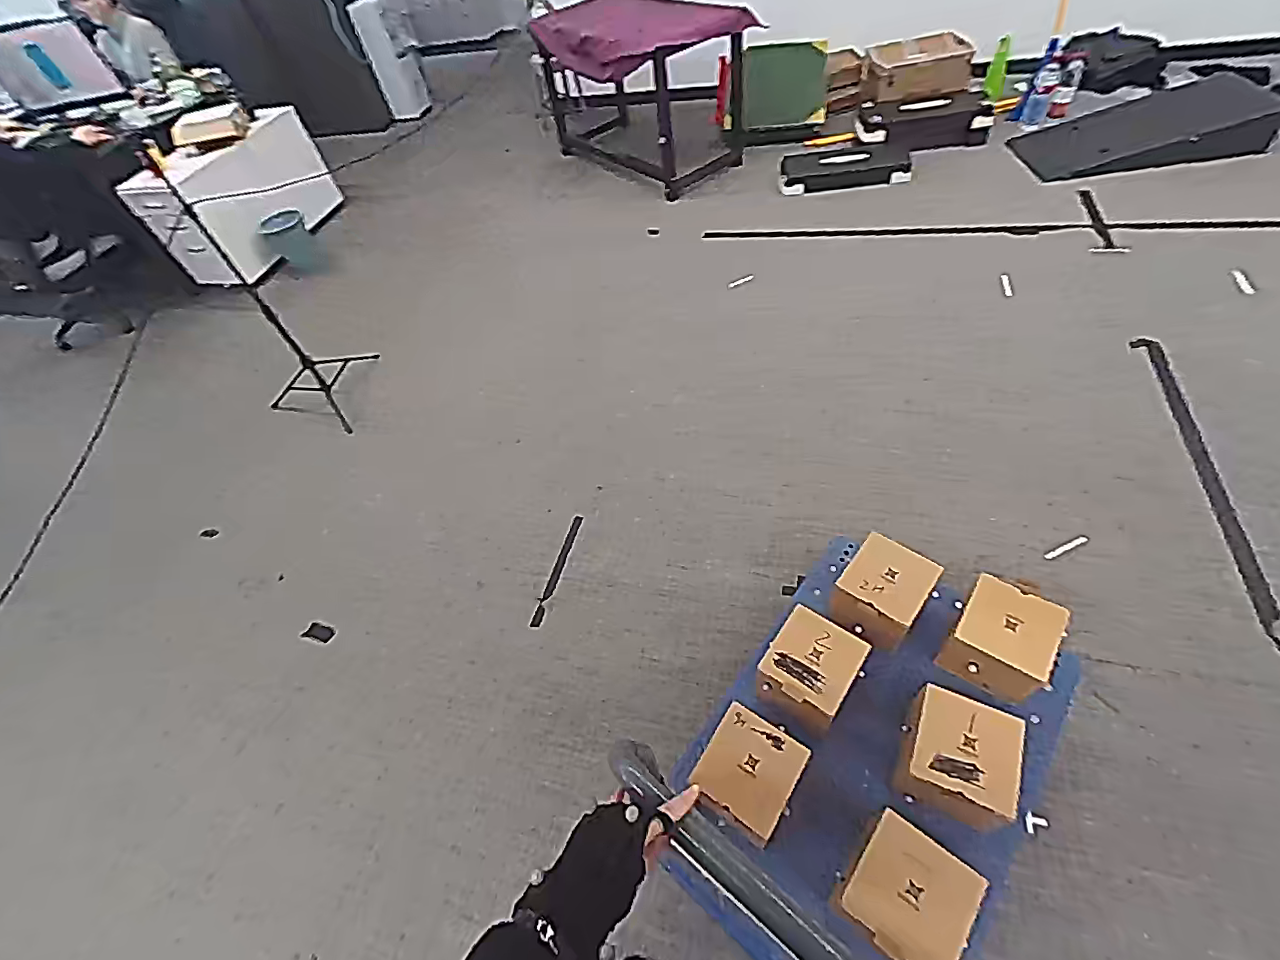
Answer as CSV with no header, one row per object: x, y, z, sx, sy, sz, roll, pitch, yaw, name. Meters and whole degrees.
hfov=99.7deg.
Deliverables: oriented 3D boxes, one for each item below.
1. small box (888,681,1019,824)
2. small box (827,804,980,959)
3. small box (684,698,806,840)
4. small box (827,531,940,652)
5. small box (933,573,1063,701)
0.590,0.525,1.034,0.168,0.176,0.179,18,57,23,small box
0.437,0.701,0.925,0.168,0.176,0.179,31,62,28,small box
0.207,0.572,1.063,0.168,0.176,0.179,27,62,26,small box
0.550,0.259,1.246,0.168,0.176,0.179,32,65,30,small box
0.750,0.338,1.152,0.168,0.176,0.179,27,61,27,small box
